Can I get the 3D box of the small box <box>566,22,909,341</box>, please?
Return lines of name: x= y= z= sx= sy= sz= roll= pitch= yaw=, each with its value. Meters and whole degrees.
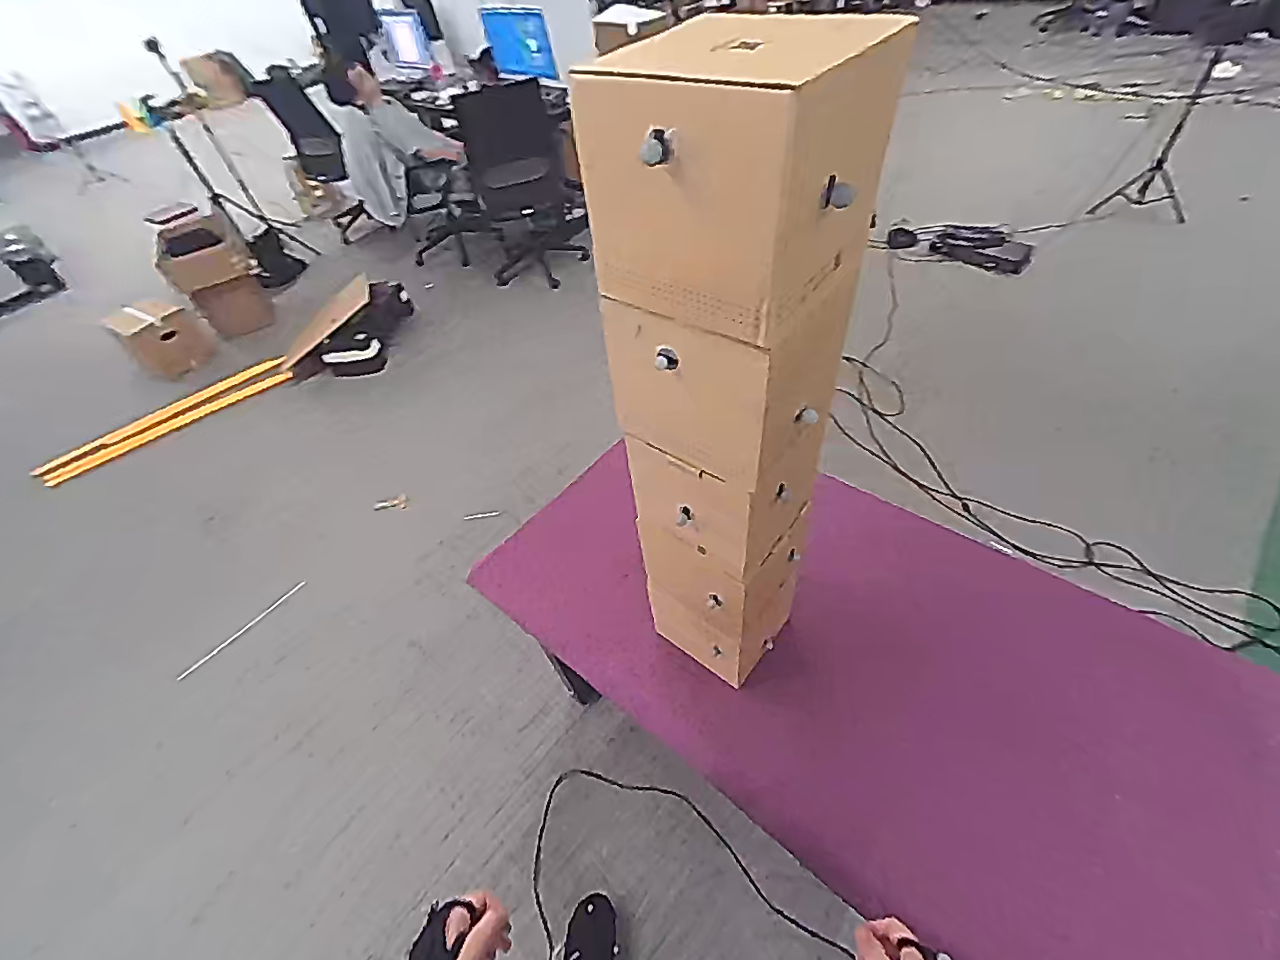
small box: x=0.074 y=-0.231 z=0.424 sx=0.179 sy=0.176 sz=0.168 roll=28 pitch=57 yaw=29

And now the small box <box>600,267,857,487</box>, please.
small box: x=0.085 y=-0.121 z=0.543 sx=0.179 sy=0.176 sz=0.168 roll=28 pitch=57 yaw=28

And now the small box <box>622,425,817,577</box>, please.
small box: x=0.104 y=-0.014 z=0.666 sx=0.168 sy=0.176 sz=0.179 roll=28 pitch=58 yaw=29

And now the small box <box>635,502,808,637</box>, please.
small box: x=0.117 y=0.100 z=0.782 sx=0.179 sy=0.176 sz=0.168 roll=29 pitch=57 yaw=30
